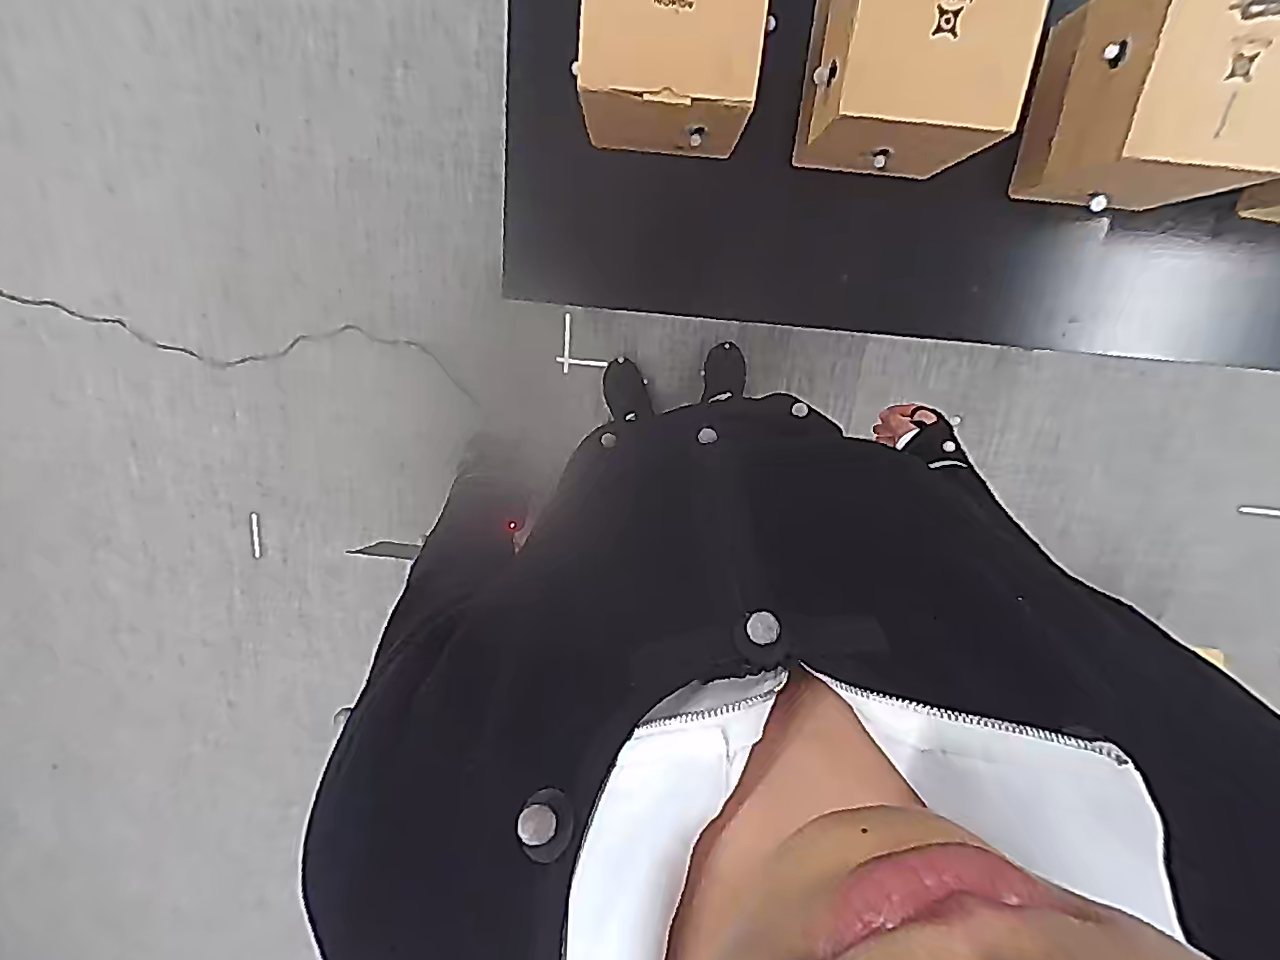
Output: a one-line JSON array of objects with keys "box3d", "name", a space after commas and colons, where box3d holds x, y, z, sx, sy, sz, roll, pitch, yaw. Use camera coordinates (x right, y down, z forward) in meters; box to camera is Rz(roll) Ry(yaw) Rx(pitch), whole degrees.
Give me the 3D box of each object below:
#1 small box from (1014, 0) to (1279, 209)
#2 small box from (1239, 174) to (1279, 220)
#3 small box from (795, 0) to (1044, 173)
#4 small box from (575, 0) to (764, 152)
[{"box3d": [0.530, -0.398, 0.555, 0.168, 0.176, 0.179, 6, 107, -1], "name": "small box"}, {"box3d": [0.810, -0.368, 0.560, 0.179, 0.176, 0.168, 8, 106, -1], "name": "small box"}, {"box3d": [0.267, -0.432, 0.547, 0.168, 0.176, 0.179, 5, 106, -2], "name": "small box"}, {"box3d": [0.029, -0.455, 0.545, 0.168, 0.176, 0.179, 4, 105, -2], "name": "small box"}]
